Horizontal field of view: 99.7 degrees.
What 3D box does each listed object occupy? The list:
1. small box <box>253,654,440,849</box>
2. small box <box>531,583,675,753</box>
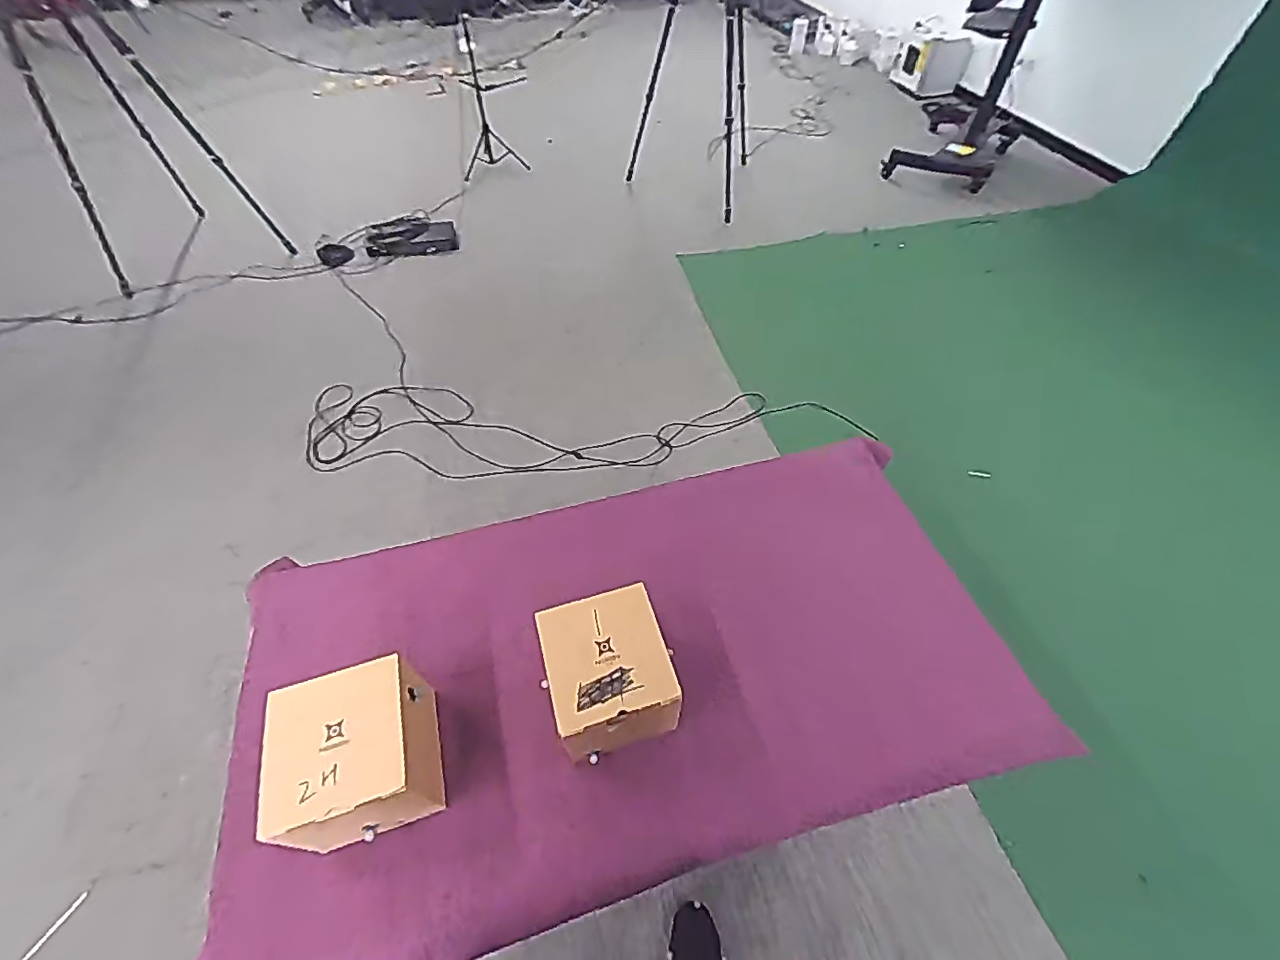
[{"bbox_3d":[-0.383,0.369,0.733,0.168,0.176,0.179,-15,54,-11],"label":"small box"},{"bbox_3d":[-0.054,0.285,0.800,0.168,0.176,0.179,-14,52,-11],"label":"small box"}]
